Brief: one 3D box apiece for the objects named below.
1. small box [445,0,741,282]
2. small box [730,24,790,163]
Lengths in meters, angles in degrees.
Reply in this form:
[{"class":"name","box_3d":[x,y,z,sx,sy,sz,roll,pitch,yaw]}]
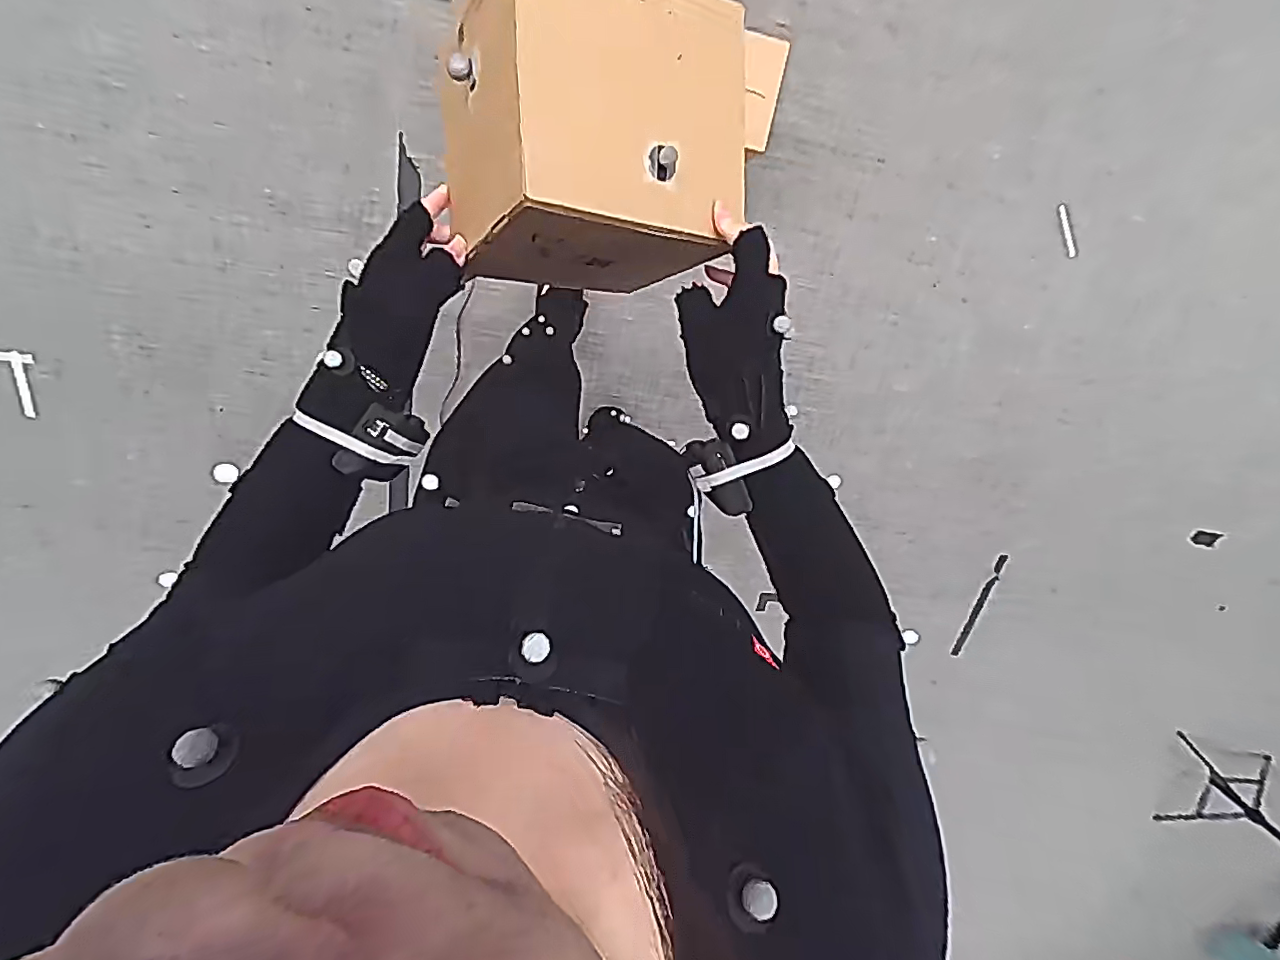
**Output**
[{"class":"small box","box_3d":[-0.039,-0.265,0.416,0.179,0.168,0.176,-5,96,-33]},{"class":"small box","box_3d":[0.142,-0.700,0.990,0.179,0.176,0.168,8,111,-11]}]
